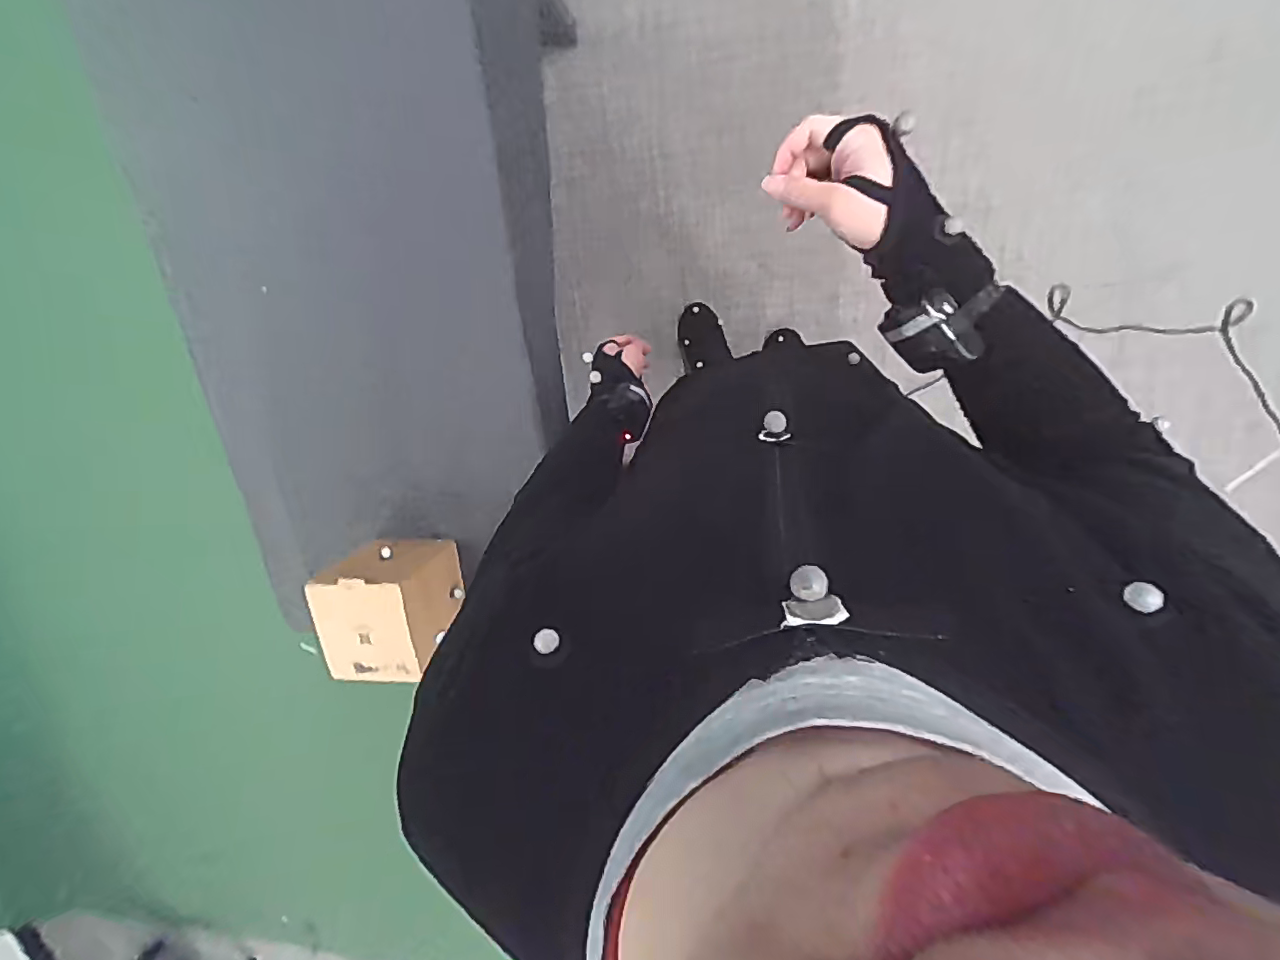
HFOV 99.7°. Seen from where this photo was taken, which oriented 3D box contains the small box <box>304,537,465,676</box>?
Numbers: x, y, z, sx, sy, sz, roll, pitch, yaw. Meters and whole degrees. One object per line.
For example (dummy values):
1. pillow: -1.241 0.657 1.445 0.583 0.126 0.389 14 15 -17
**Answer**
1. small box: -0.419 0.204 0.916 0.168 0.176 0.179 -1 107 11
